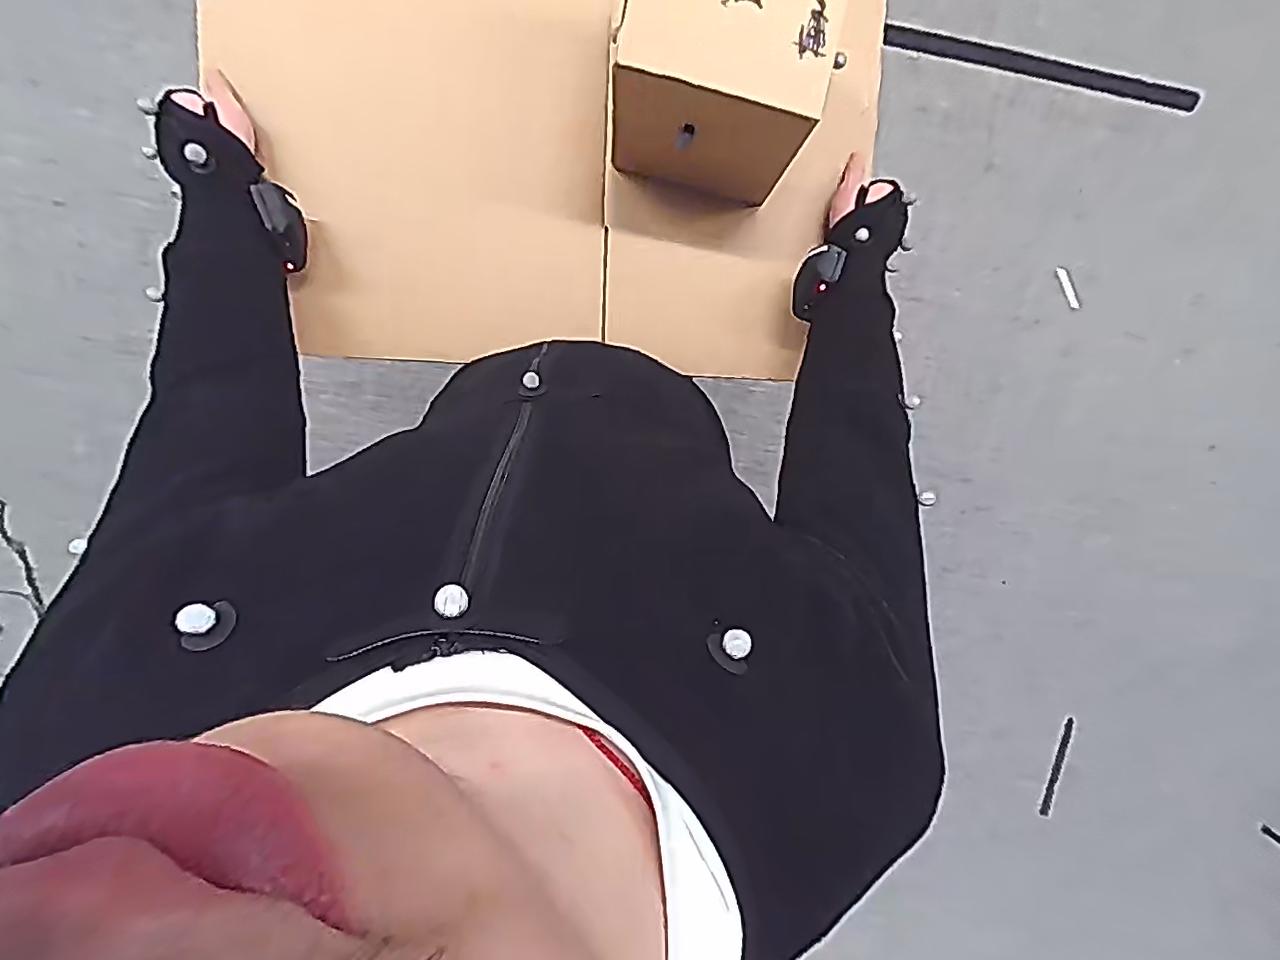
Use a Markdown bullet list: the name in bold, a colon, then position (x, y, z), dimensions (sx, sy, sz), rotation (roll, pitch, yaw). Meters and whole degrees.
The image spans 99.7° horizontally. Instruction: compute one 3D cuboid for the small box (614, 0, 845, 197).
- **small box**: position (0.077, -0.400, 0.517), dimensions (0.179, 0.176, 0.168), rotation (12, 95, -4)
